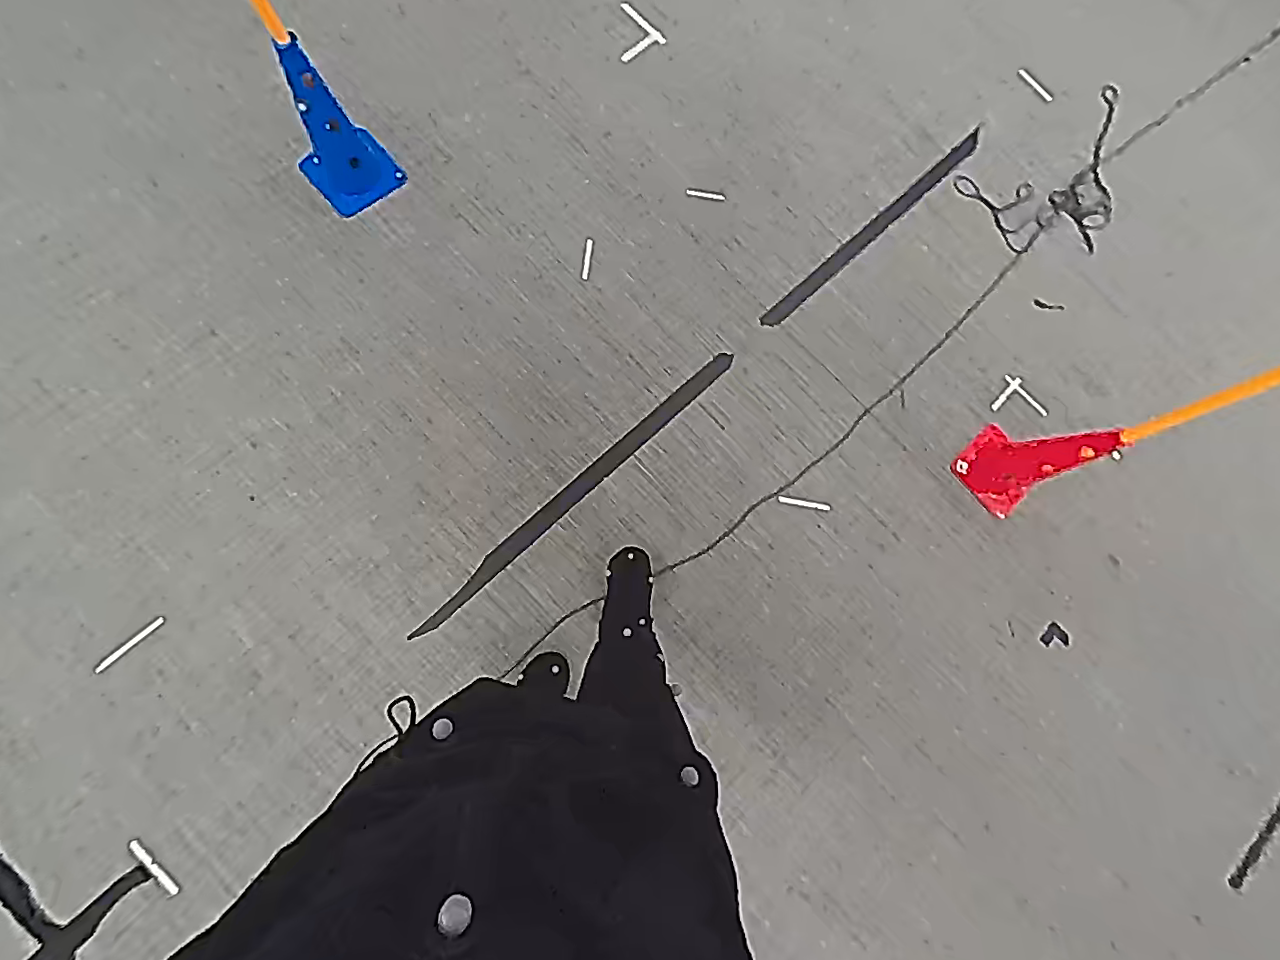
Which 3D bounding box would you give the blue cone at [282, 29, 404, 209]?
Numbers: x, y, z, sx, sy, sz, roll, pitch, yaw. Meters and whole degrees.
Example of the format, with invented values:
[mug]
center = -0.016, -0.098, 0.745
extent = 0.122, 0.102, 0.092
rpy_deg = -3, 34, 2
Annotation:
[blue cone]
center = -0.715, -0.830, 1.236
extent = 0.192, 0.380, 0.193
rpy_deg = -39, 87, -13
